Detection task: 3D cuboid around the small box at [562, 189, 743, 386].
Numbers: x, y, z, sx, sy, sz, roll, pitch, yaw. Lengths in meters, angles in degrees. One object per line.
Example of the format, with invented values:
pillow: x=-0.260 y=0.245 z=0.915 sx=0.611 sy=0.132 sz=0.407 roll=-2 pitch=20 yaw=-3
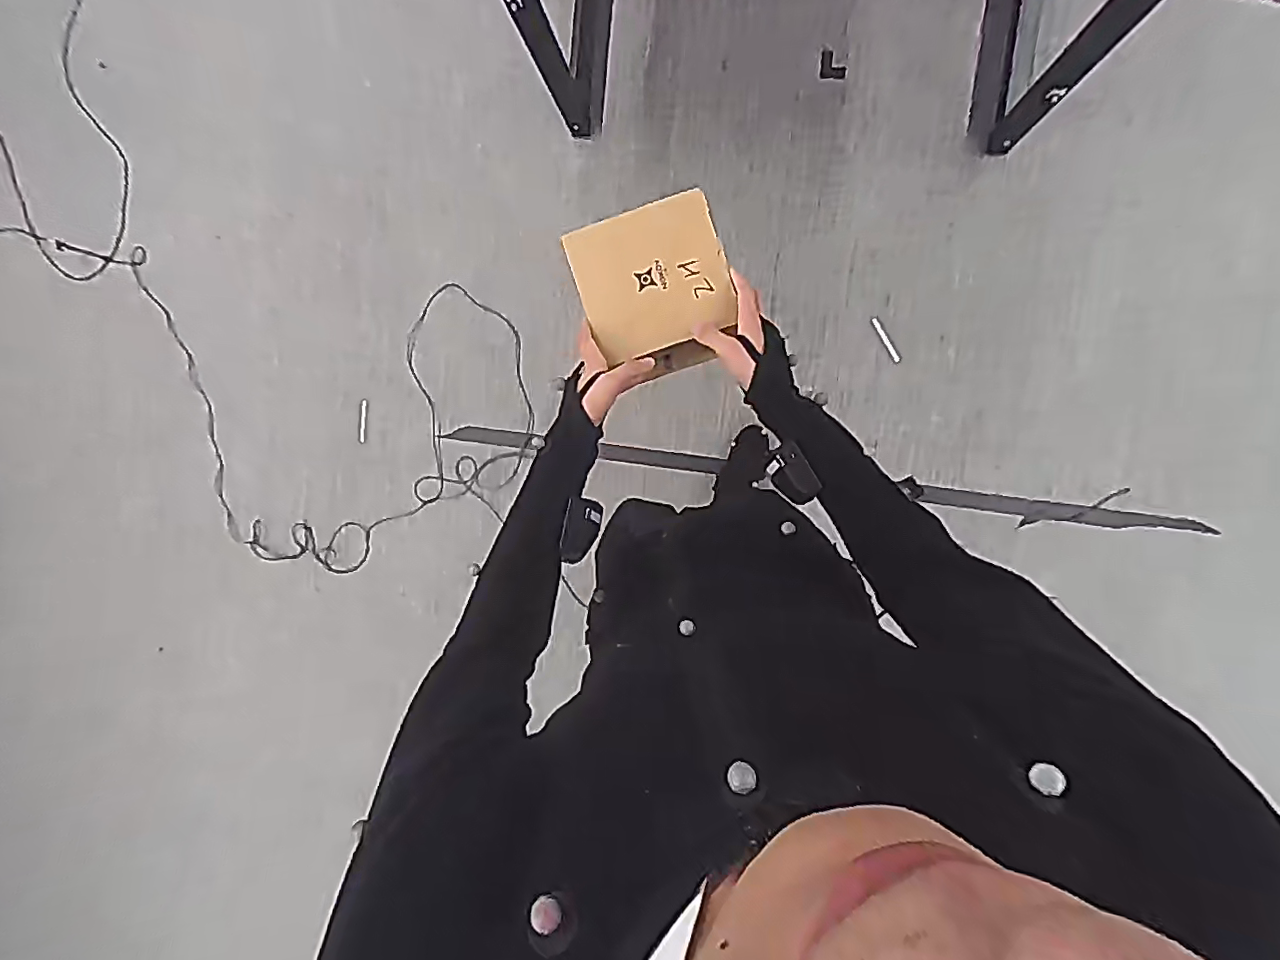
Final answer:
small box: x=0.018 y=-0.232 z=0.702 sx=0.179 sy=0.176 sz=0.168 roll=-18 pitch=90 yaw=2
